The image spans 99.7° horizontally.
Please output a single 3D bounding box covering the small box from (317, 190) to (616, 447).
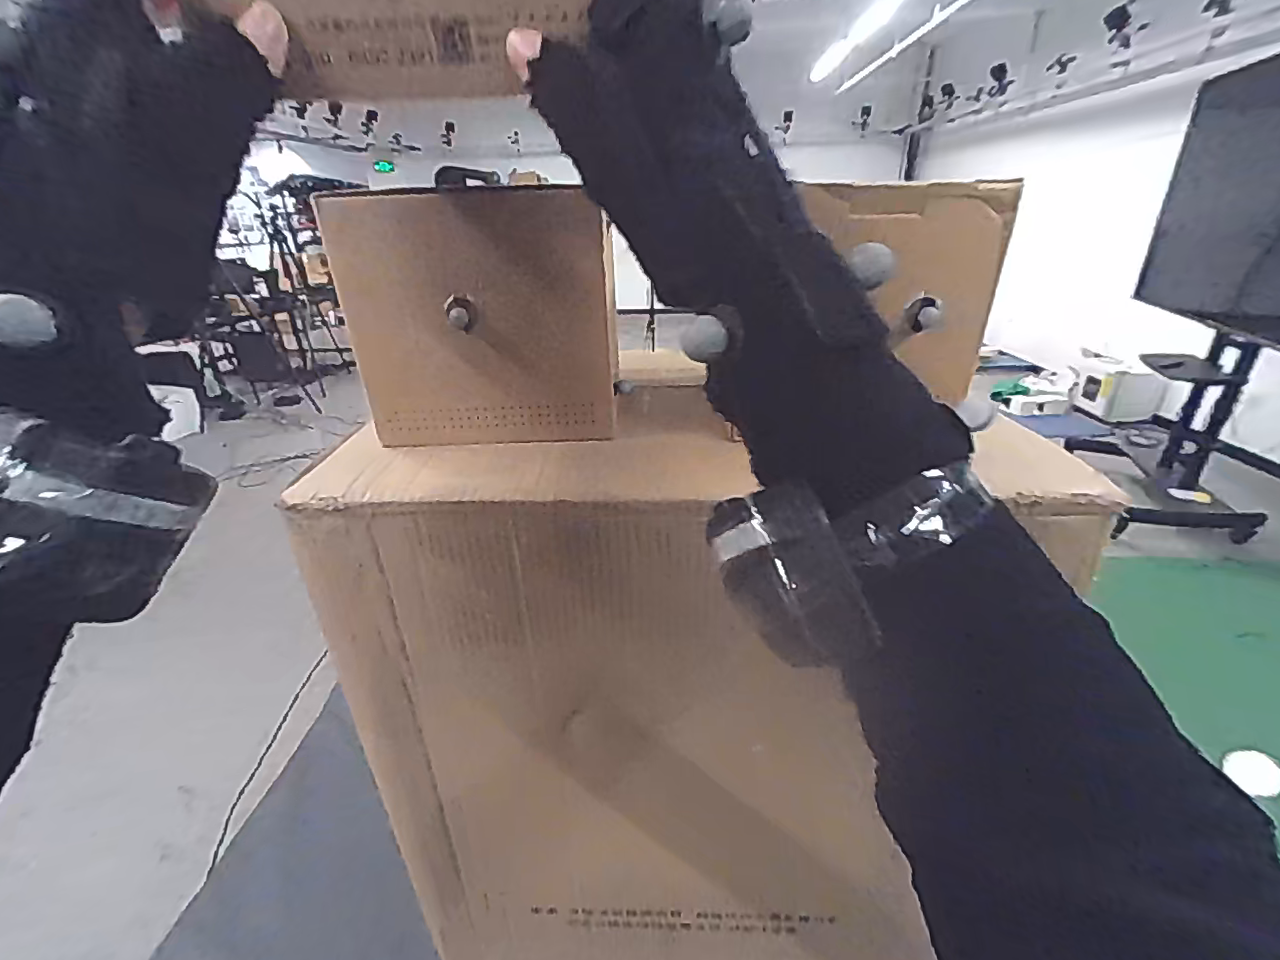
[{"bbox_3d":[-0.111,-0.136,0.440,0.179,0.176,0.168,-3,28,1],"label":"small box"}]

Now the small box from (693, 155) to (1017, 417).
[{"bbox_3d":[0.137,-0.155,0.425,0.168,0.176,0.179,-2,30,-5],"label":"small box"}]
